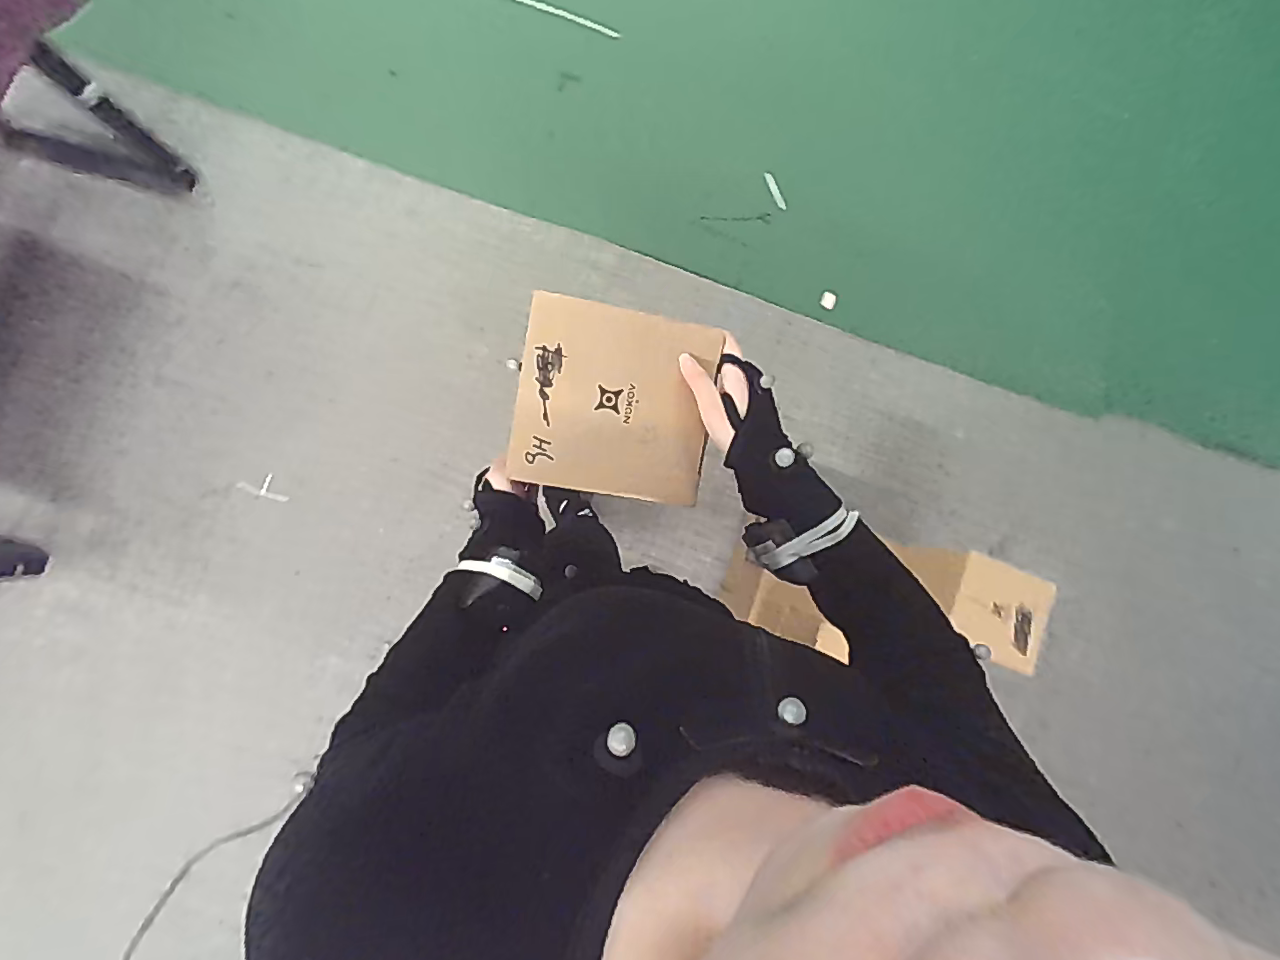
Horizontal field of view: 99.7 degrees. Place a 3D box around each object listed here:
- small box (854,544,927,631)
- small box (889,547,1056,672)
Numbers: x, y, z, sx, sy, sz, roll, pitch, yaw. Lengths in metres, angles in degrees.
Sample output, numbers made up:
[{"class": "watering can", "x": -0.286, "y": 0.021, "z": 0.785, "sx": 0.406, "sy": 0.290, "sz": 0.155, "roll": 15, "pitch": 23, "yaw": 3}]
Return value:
[{"class": "small box", "x": 0.599, "y": 0.240, "z": 1.165, "sx": 0.179, "sy": 0.176, "sz": 0.168, "roll": 20, "pitch": 82, "yaw": -5}, {"class": "small box", "x": 0.603, "y": 0.227, "z": 1.000, "sx": 0.179, "sy": 0.176, "sz": 0.168, "roll": 22, "pitch": 82, "yaw": -5}]
